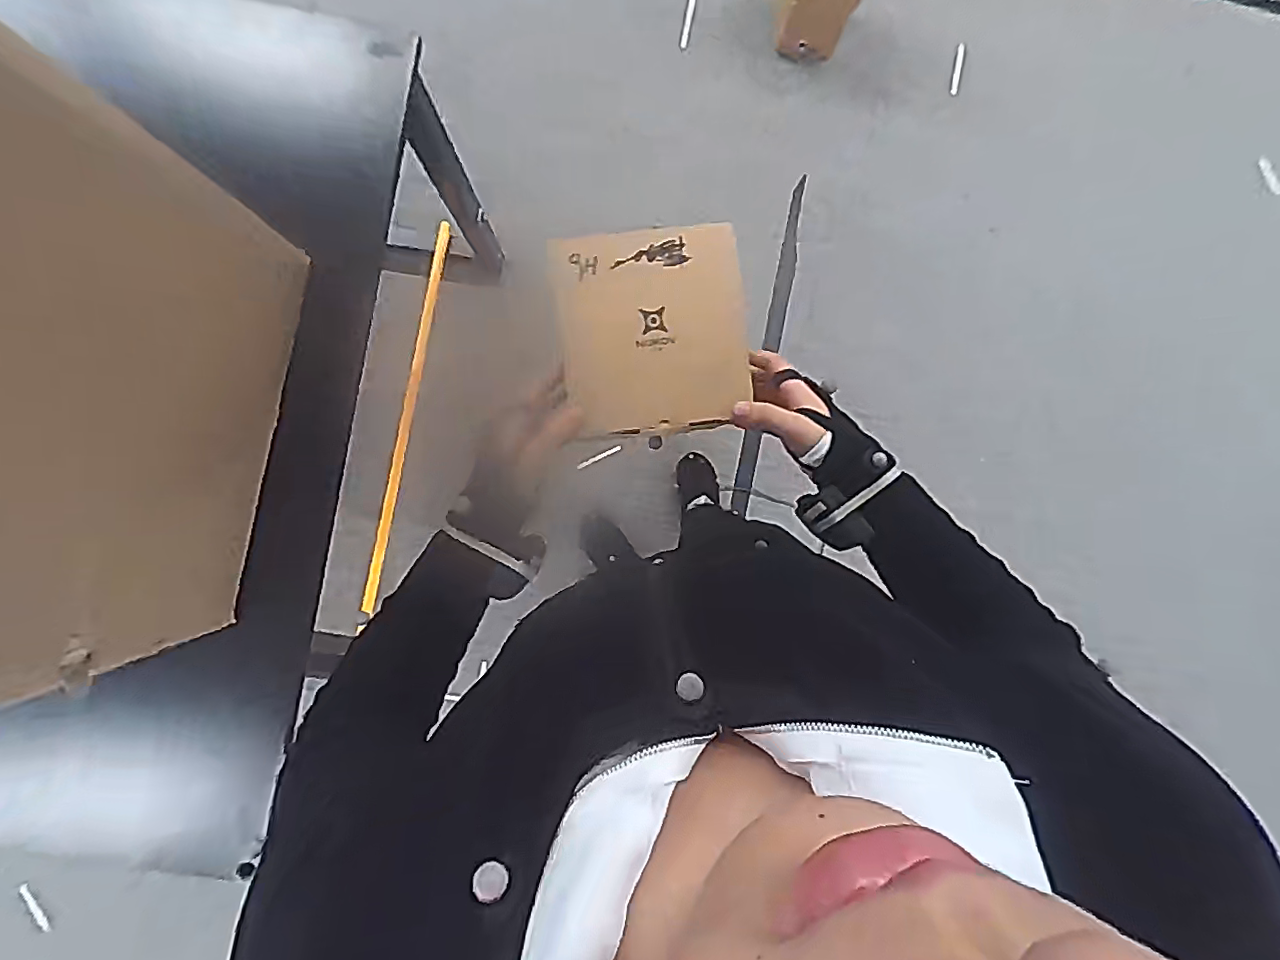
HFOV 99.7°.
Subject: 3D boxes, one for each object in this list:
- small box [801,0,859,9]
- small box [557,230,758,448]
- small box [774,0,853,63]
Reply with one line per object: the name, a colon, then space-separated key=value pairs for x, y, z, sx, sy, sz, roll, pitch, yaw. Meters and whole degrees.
small box: x=0.487 y=-1.302 z=1.314 sx=0.179 sy=0.176 sz=0.168 roll=6 pitch=89 yaw=-3
small box: x=0.013 y=-0.129 z=0.550 sx=0.168 sy=0.176 sz=0.179 roll=-7 pitch=95 yaw=-3
small box: x=0.473 y=-1.297 z=1.478 sx=0.168 sy=0.176 sz=0.179 roll=3 pitch=90 yaw=-2
